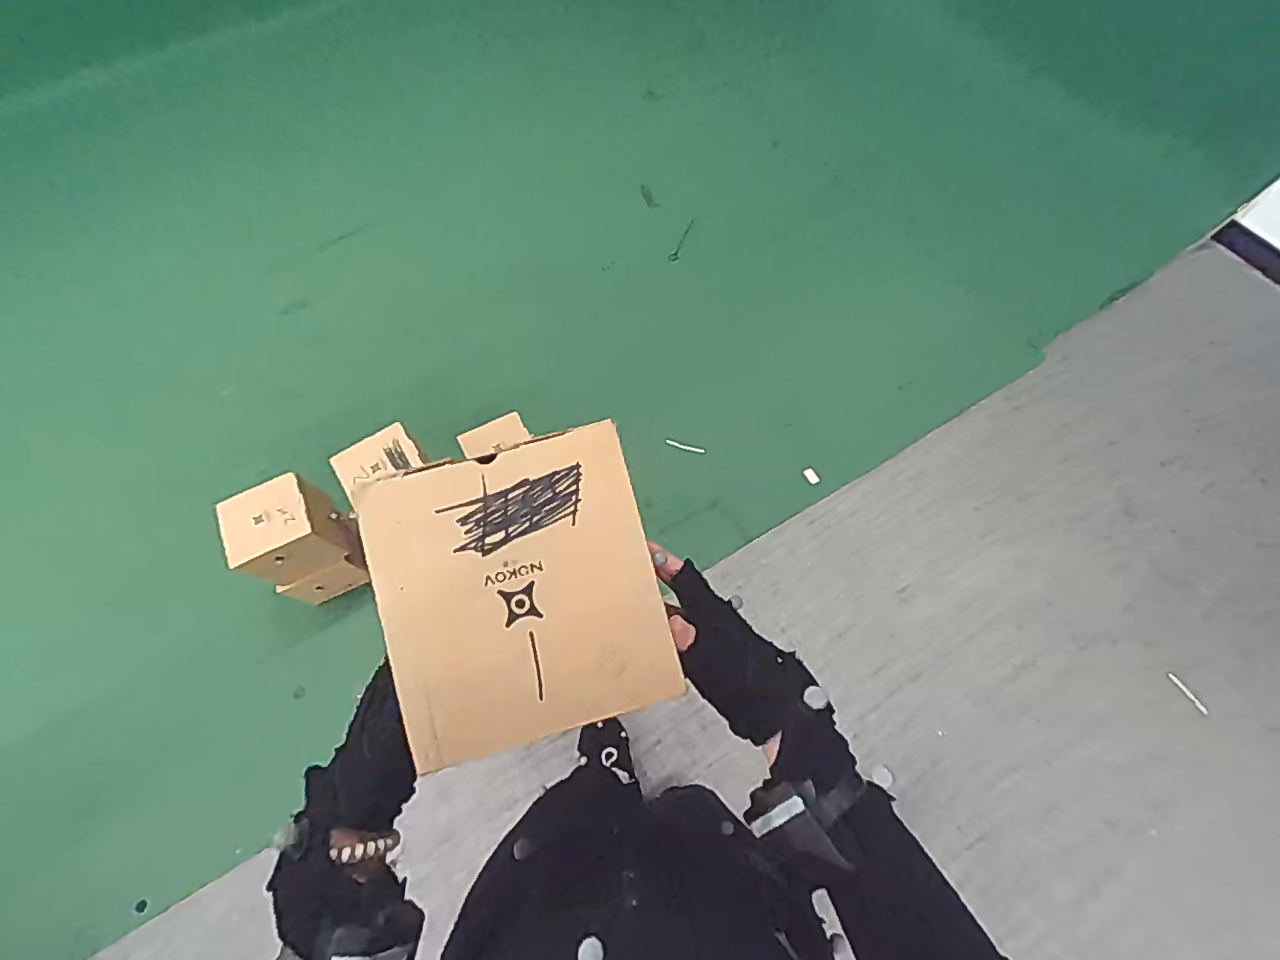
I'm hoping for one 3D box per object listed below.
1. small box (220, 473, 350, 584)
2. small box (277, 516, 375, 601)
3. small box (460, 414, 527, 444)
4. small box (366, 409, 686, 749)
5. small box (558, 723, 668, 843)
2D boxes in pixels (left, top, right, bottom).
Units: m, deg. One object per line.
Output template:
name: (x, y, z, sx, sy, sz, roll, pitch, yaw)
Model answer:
small box: (-0.808, 0.118, 1.242, 0.179, 0.176, 0.168, -25, 68, -10)
small box: (-0.810, 0.197, 1.388, 0.168, 0.176, 0.179, -25, 68, -10)
small box: (-0.369, -0.047, 1.498, 0.179, 0.176, 0.168, -25, 68, -11)
small box: (-0.074, 0.066, 0.410, 0.168, 0.176, 0.179, -15, 84, -4)
small box: (-0.061, 0.664, 1.203, 0.179, 0.176, 0.168, 18, 78, 24)
